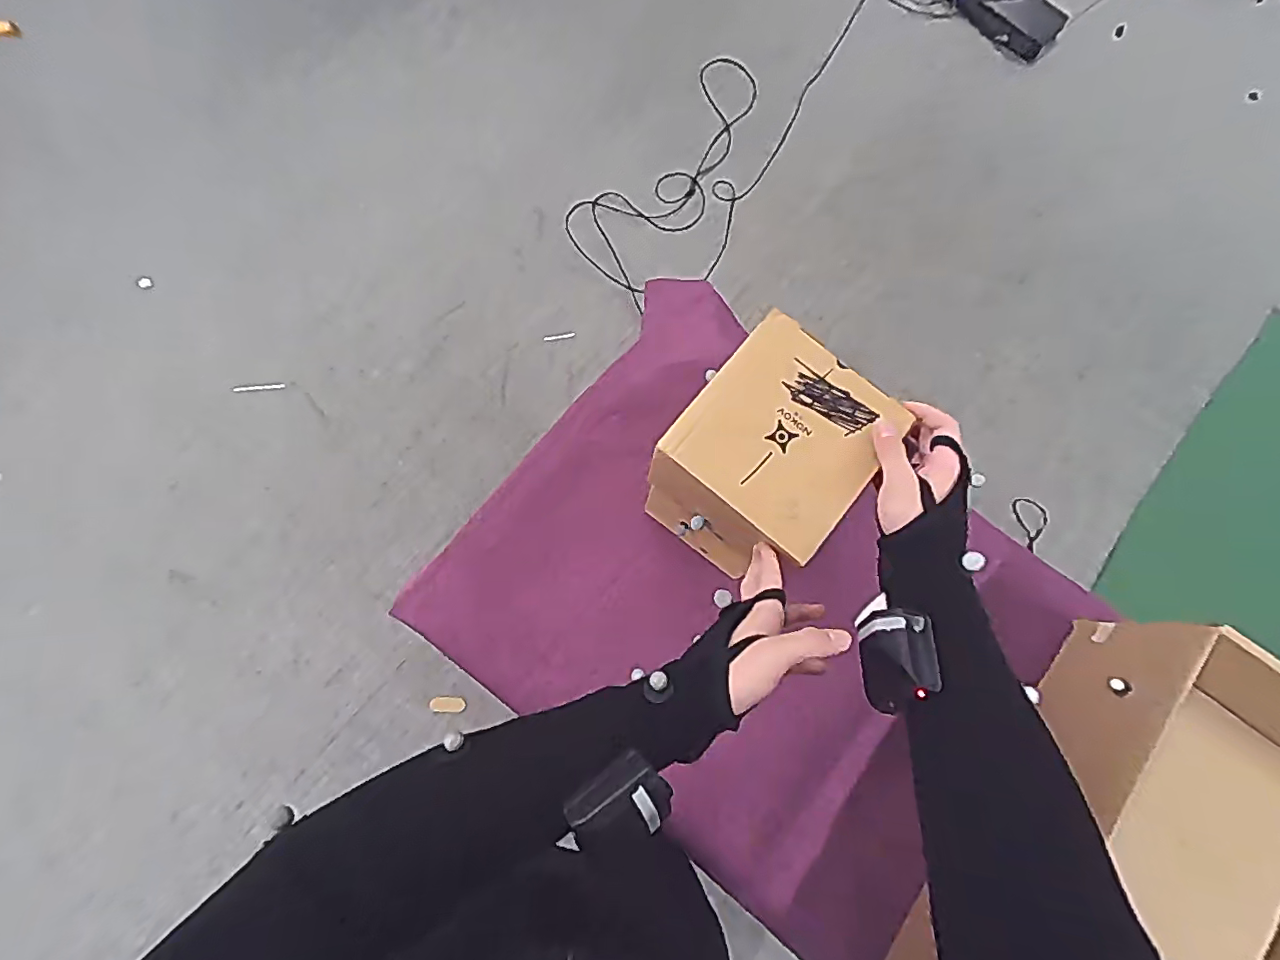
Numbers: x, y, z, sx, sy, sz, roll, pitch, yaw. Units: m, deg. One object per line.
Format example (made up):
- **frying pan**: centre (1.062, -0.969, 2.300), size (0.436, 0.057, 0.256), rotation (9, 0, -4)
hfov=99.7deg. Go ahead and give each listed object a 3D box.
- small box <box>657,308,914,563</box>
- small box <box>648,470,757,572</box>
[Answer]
- **small box**: centre (0.129, -0.032, 0.559), size (0.168, 0.176, 0.179), rotation (40, 81, 6)
- **small box**: centre (0.125, 0.006, 0.728), size (0.168, 0.176, 0.179), rotation (37, 76, 8)
